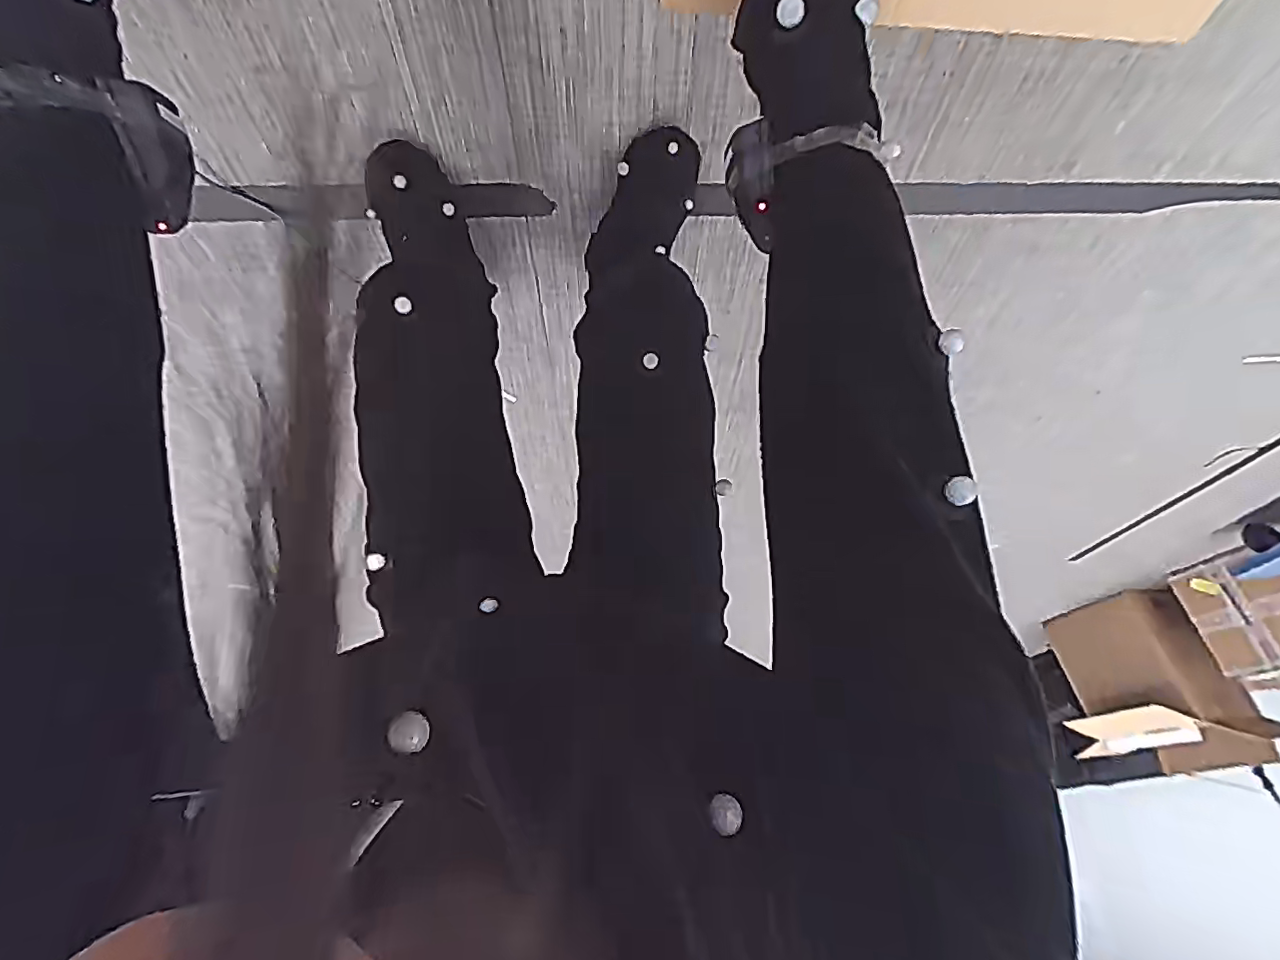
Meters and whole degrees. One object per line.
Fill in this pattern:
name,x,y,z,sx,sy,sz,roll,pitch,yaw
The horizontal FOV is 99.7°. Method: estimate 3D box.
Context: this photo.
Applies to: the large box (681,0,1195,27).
large box,0.212,-0.546,0.346,0.408,0.320,0.320,-3,149,-7
